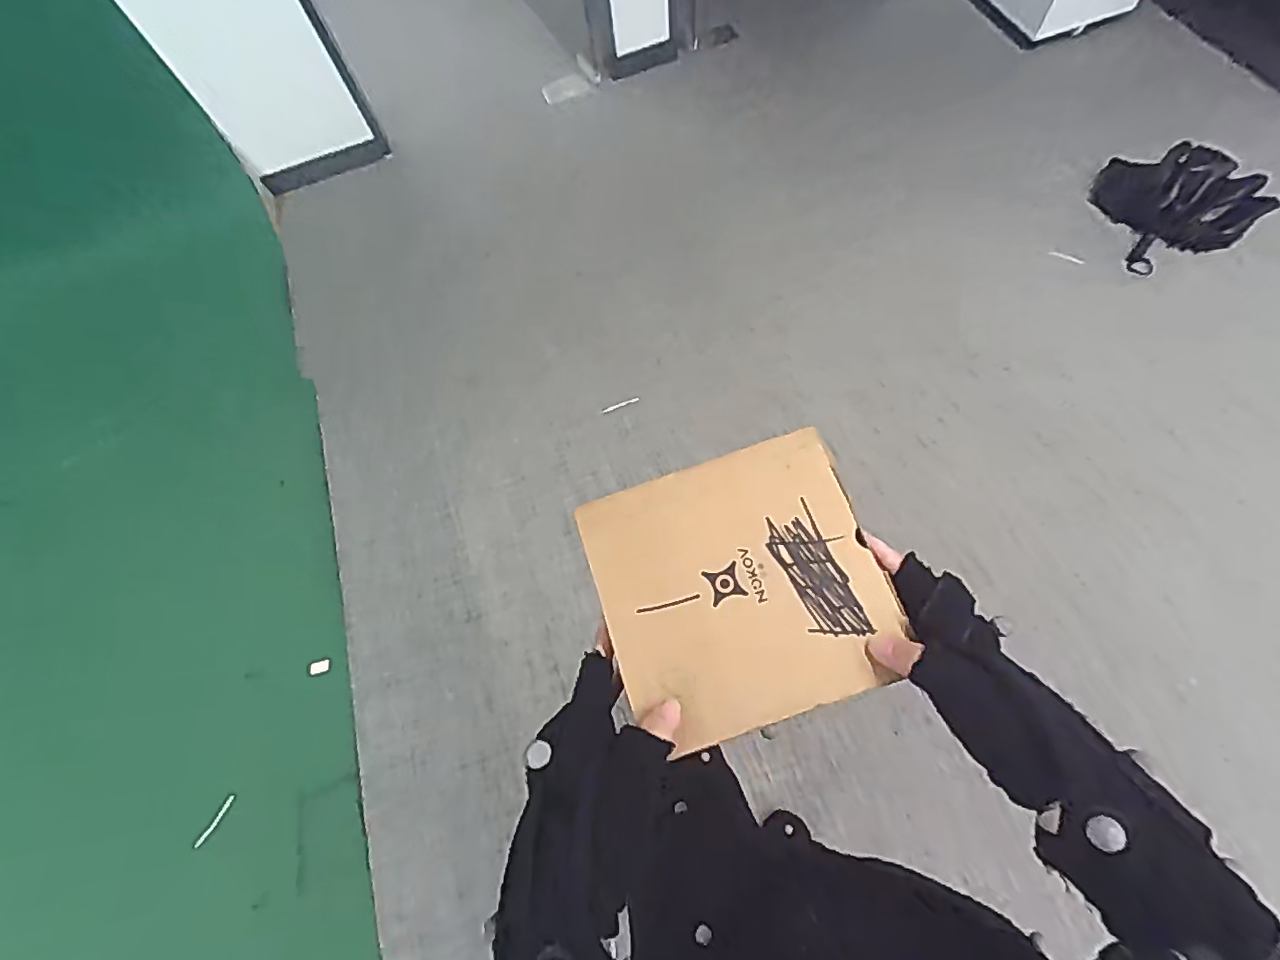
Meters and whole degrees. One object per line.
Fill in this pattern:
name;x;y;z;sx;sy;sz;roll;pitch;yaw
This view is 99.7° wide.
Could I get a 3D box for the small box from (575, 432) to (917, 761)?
small box;0.066;0.091;0.422;0.179;0.176;0.168;-21;70;-3
